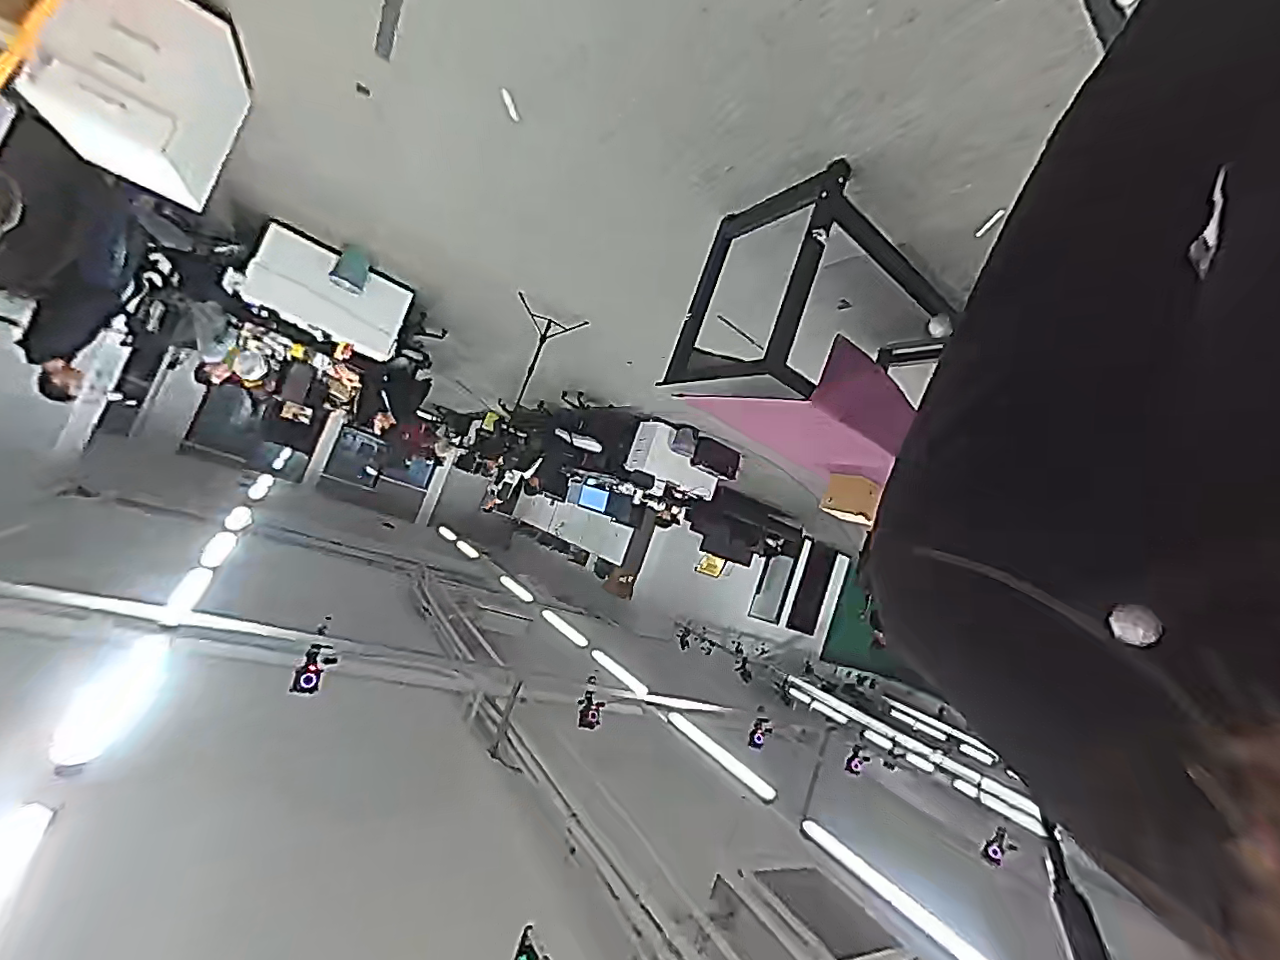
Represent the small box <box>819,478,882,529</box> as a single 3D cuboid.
[{"bbox_3d":[0.932,0.098,2.385,0.168,0.176,0.179,24,172,-33],"label":"small box"}]
